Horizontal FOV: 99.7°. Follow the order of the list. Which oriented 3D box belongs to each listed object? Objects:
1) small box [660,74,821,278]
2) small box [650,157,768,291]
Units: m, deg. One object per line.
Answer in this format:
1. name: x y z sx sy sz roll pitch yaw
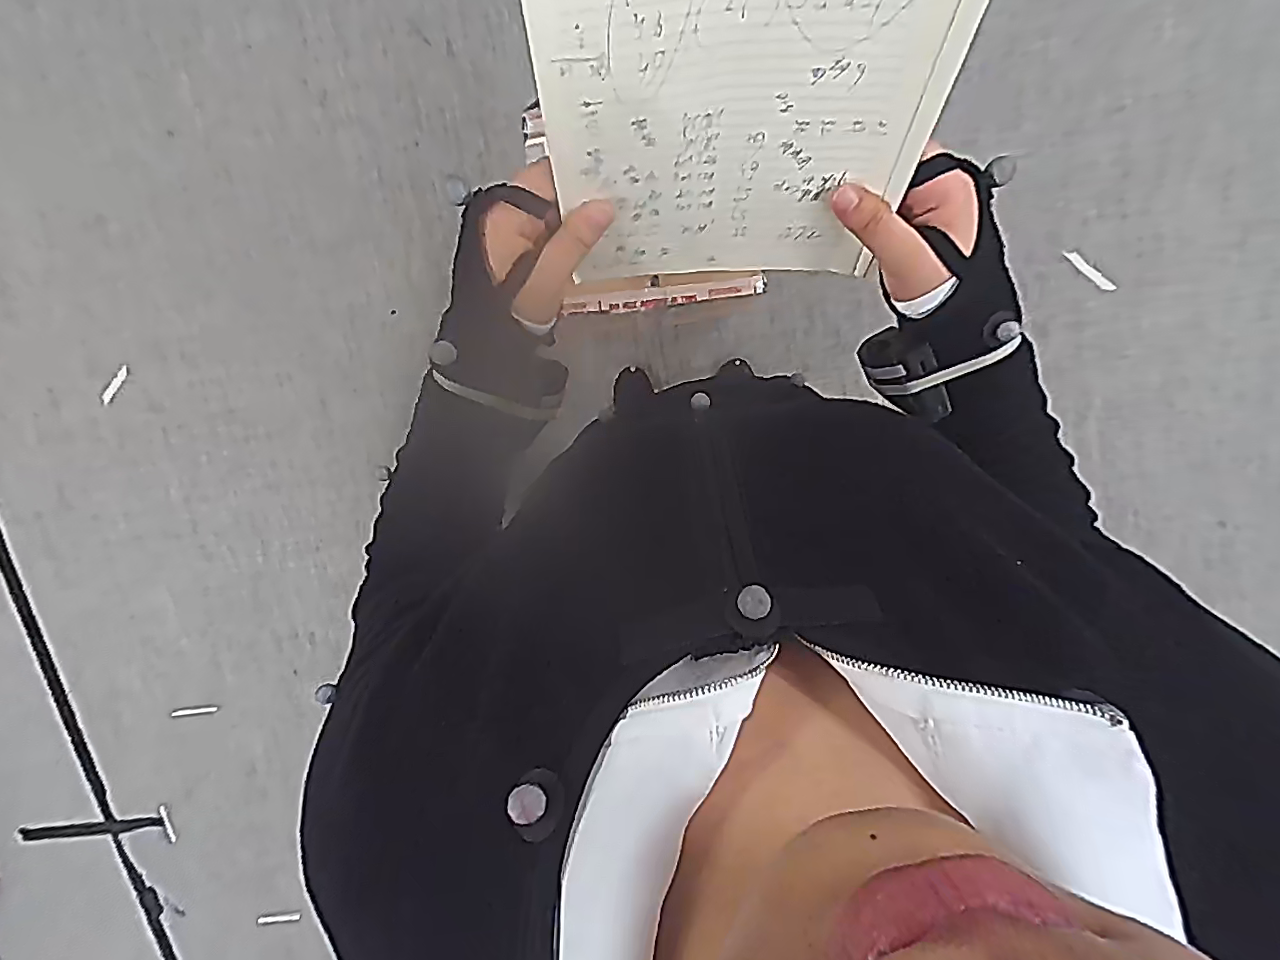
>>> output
1. small box: 0.118 -0.368 0.686 0.168 0.176 0.179 -7 103 1
2. small box: 0.114 -0.403 0.847 0.179 0.176 0.168 -10 102 3
